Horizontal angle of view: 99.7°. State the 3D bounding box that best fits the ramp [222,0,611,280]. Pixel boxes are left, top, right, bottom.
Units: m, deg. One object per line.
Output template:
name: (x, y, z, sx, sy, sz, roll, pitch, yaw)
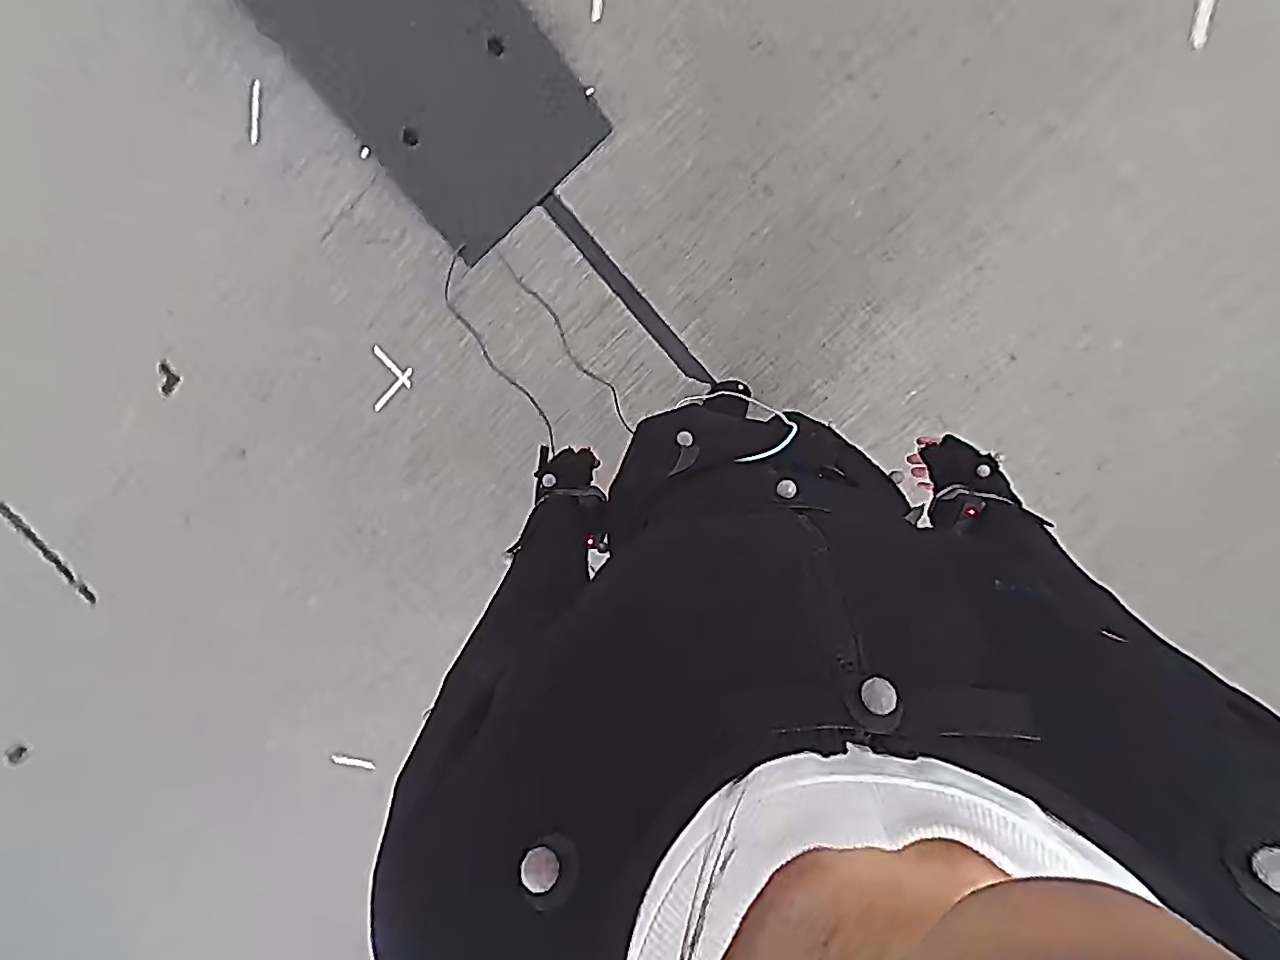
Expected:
ramp: (-0.567, -1.028, 1.260, 0.509, 0.206, 0.991, -42, 94, 10)
